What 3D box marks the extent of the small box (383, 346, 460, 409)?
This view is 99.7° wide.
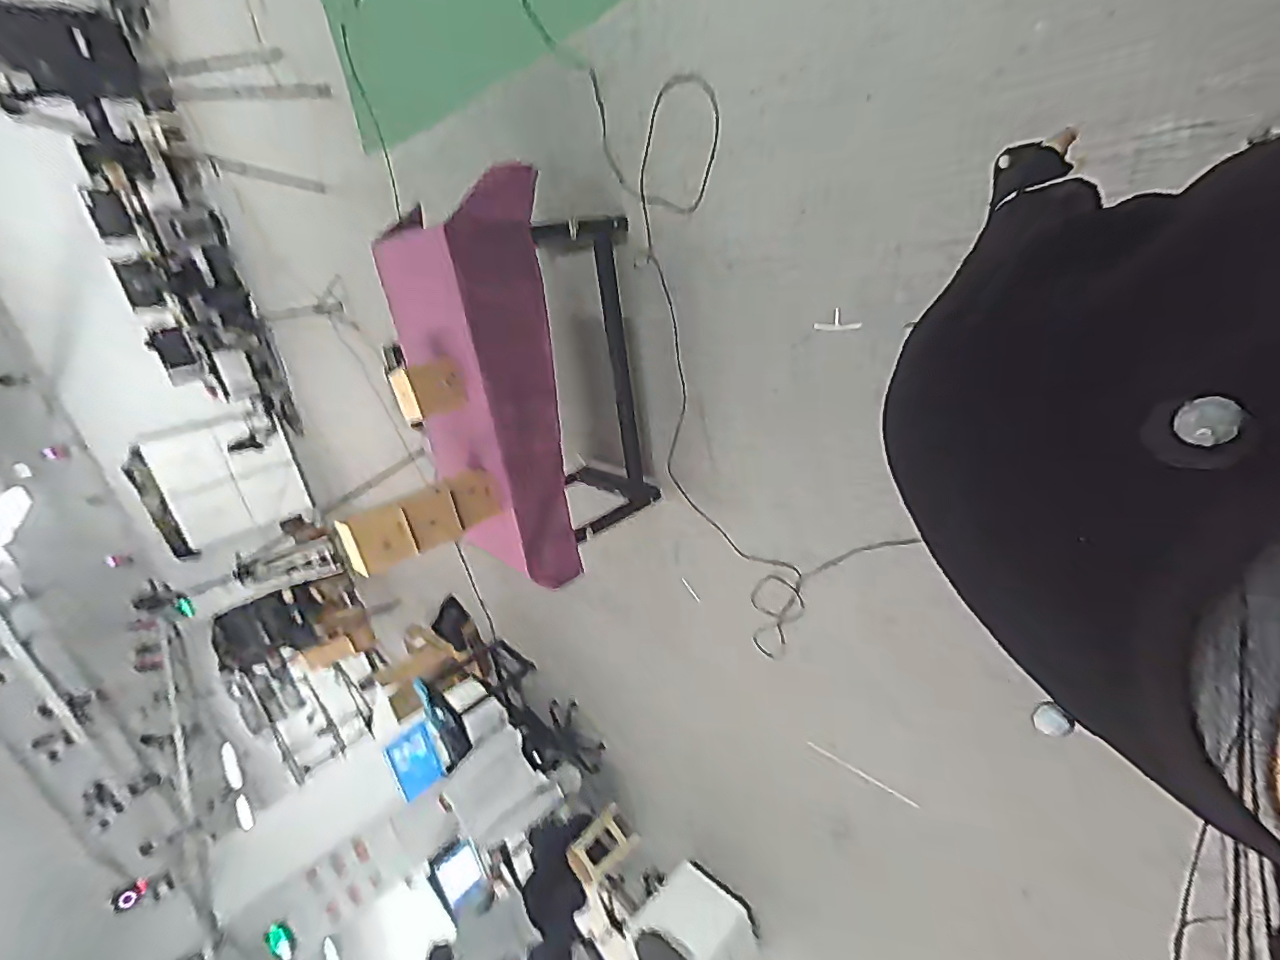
[{"bbox_3d":[-0.739,-0.346,1.832,0.179,0.176,0.168,1,113,50],"label":"small box"}]

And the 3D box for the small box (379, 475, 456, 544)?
[{"bbox_3d":[-0.758,0.094,1.851,0.168,0.176,0.179,9,117,47],"label":"small box"}]

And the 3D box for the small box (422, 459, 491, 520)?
[{"bbox_3d":[-0.660,0.029,1.967,0.179,0.176,0.168,10,117,48],"label":"small box"}]

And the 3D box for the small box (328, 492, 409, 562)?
[{"bbox_3d":[-0.867,0.146,1.742,0.179,0.176,0.168,4,113,49],"label":"small box"}]
